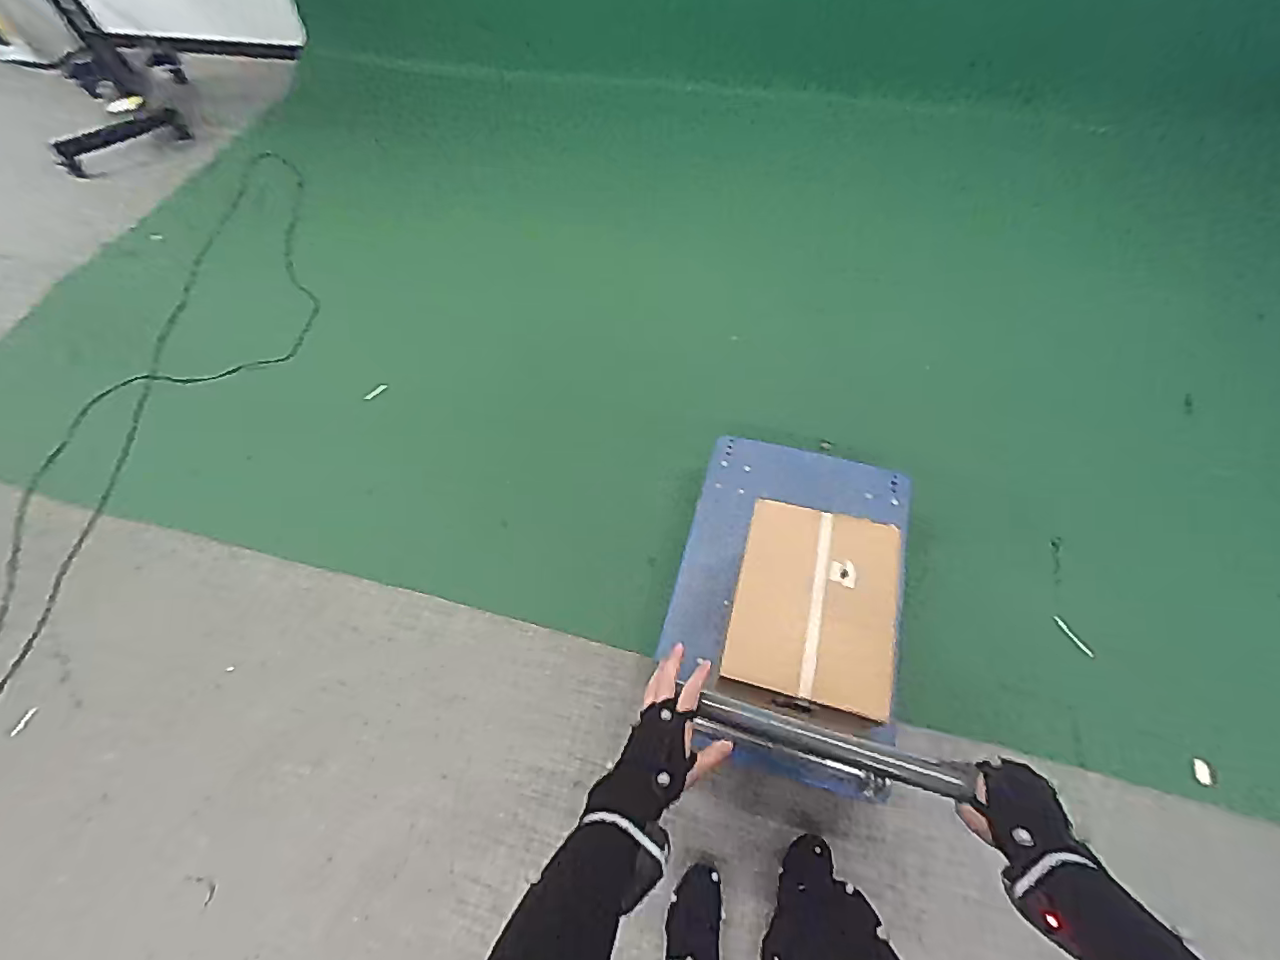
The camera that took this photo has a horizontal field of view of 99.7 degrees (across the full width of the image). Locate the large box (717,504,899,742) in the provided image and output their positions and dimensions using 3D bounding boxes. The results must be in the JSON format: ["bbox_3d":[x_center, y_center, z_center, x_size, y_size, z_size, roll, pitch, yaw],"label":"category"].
[{"bbox_3d":[0.369,0.326,1.225,0.320,0.320,0.408,13,60,10],"label":"large box"}]
